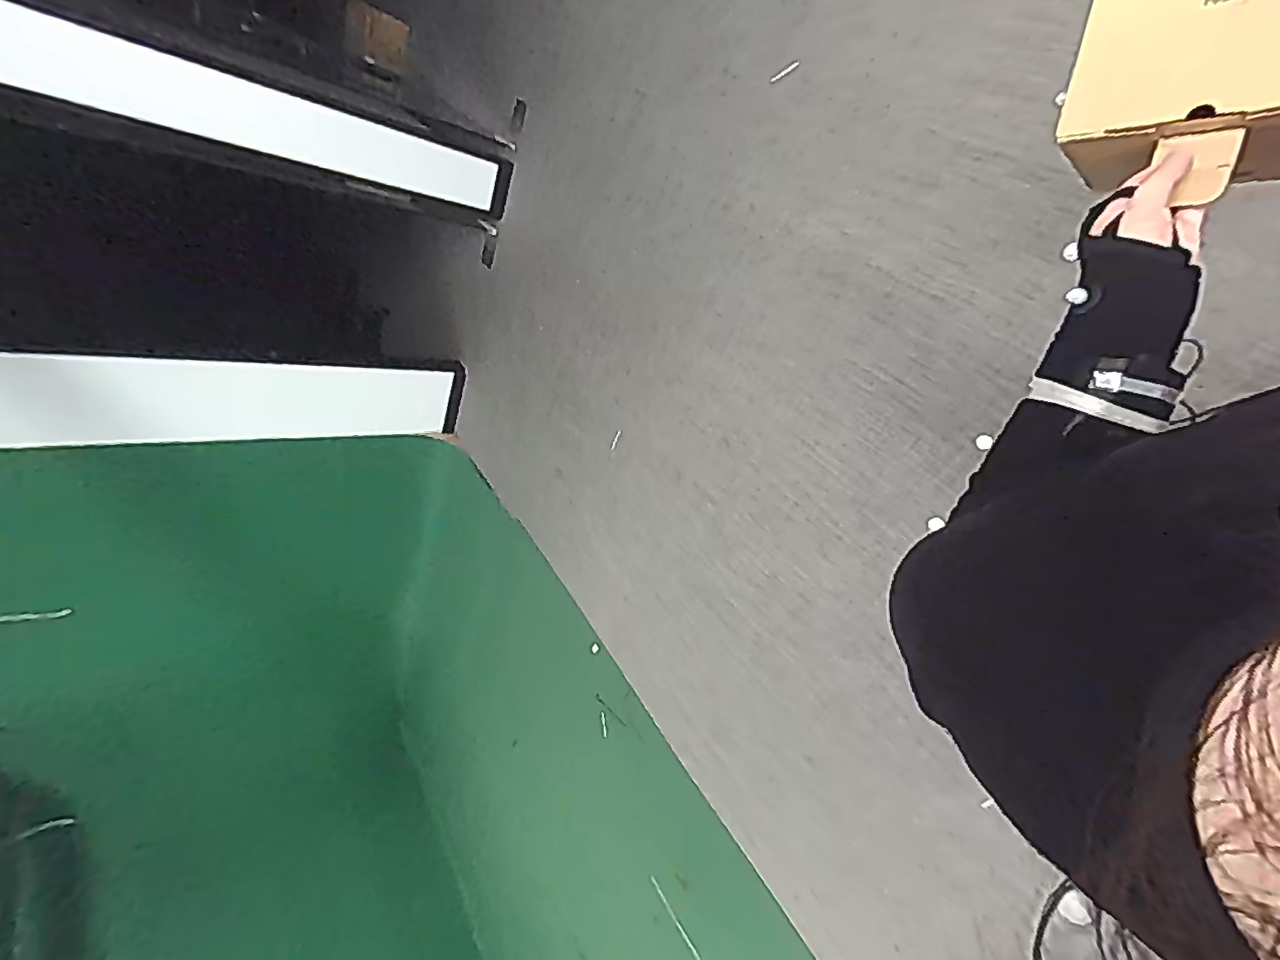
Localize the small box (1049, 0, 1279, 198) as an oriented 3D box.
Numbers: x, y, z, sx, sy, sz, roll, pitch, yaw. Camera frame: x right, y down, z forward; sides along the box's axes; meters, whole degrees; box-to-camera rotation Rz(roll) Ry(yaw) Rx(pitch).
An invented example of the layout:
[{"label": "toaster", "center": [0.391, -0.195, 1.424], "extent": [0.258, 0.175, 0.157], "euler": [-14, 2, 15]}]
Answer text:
[{"label": "small box", "center": [0.450, -0.334, 0.410], "extent": [0.168, 0.176, 0.179], "euler": [22, 113, 44]}]
